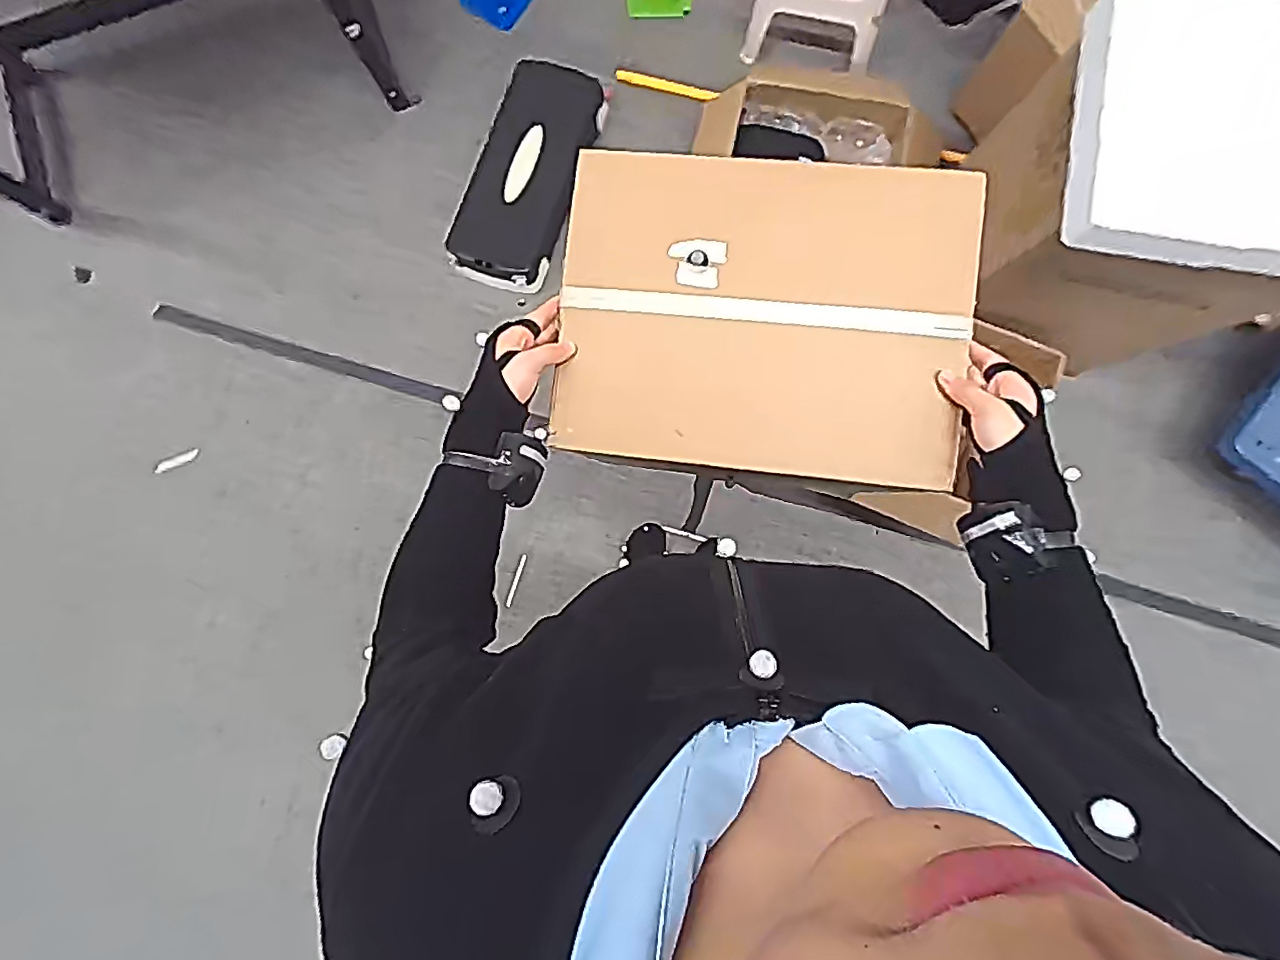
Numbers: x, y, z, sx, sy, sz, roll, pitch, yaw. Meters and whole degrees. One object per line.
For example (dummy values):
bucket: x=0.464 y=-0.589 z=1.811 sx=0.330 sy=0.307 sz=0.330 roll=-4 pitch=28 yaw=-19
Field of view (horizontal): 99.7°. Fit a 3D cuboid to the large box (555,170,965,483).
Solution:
large box: x=0.135 y=-0.163 z=0.703 sx=0.408 sy=0.320 sz=0.320 roll=5 pitch=88 yaw=6
